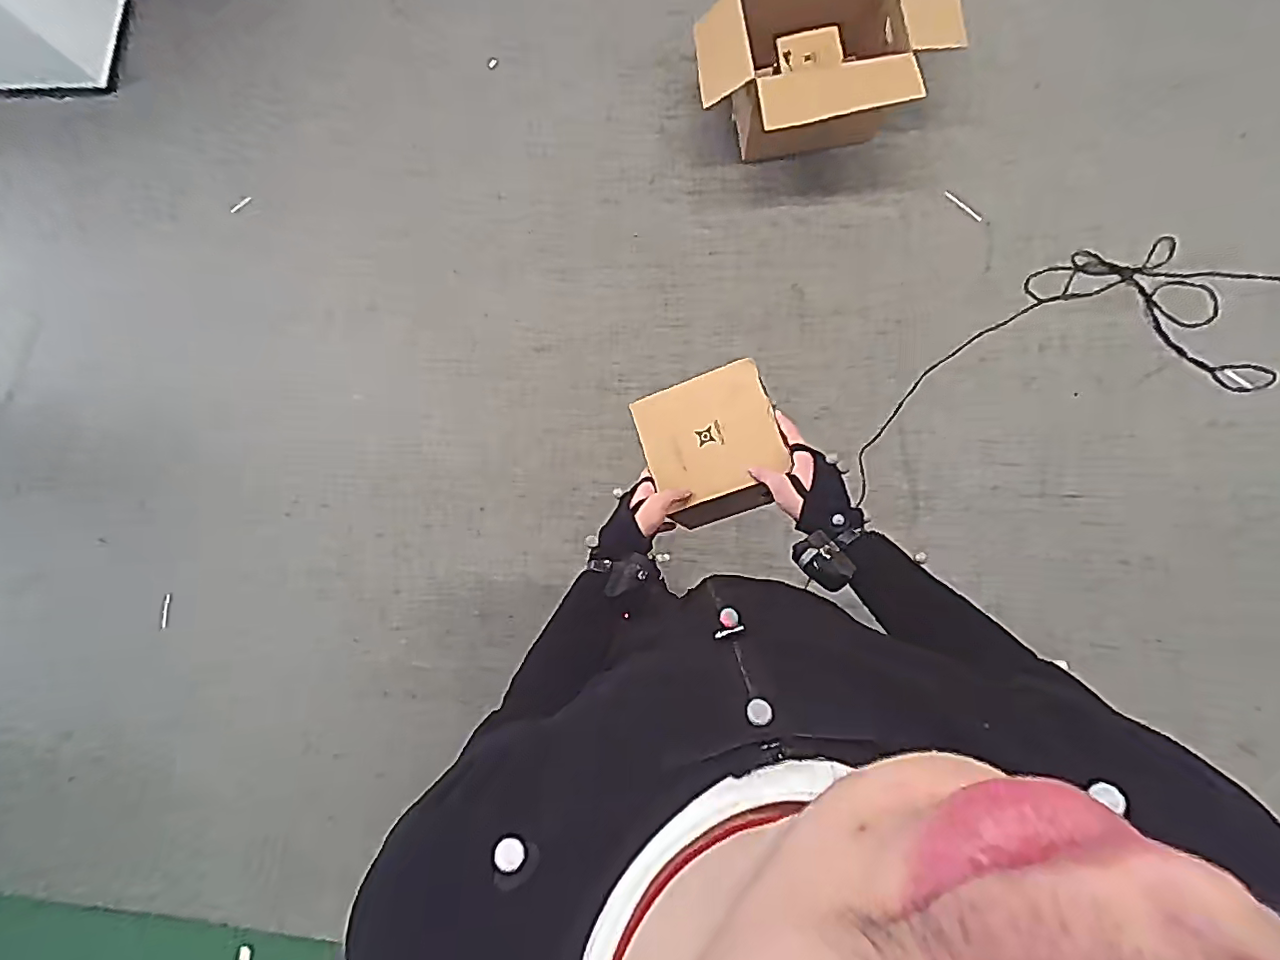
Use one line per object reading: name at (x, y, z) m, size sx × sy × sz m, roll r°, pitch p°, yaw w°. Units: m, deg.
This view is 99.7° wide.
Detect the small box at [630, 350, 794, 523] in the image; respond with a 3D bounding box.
small box at (0.106, -0.050, 0.757) m, size 0.179 × 0.176 × 0.168 m, roll -19°, pitch 71°, yaw 12°
